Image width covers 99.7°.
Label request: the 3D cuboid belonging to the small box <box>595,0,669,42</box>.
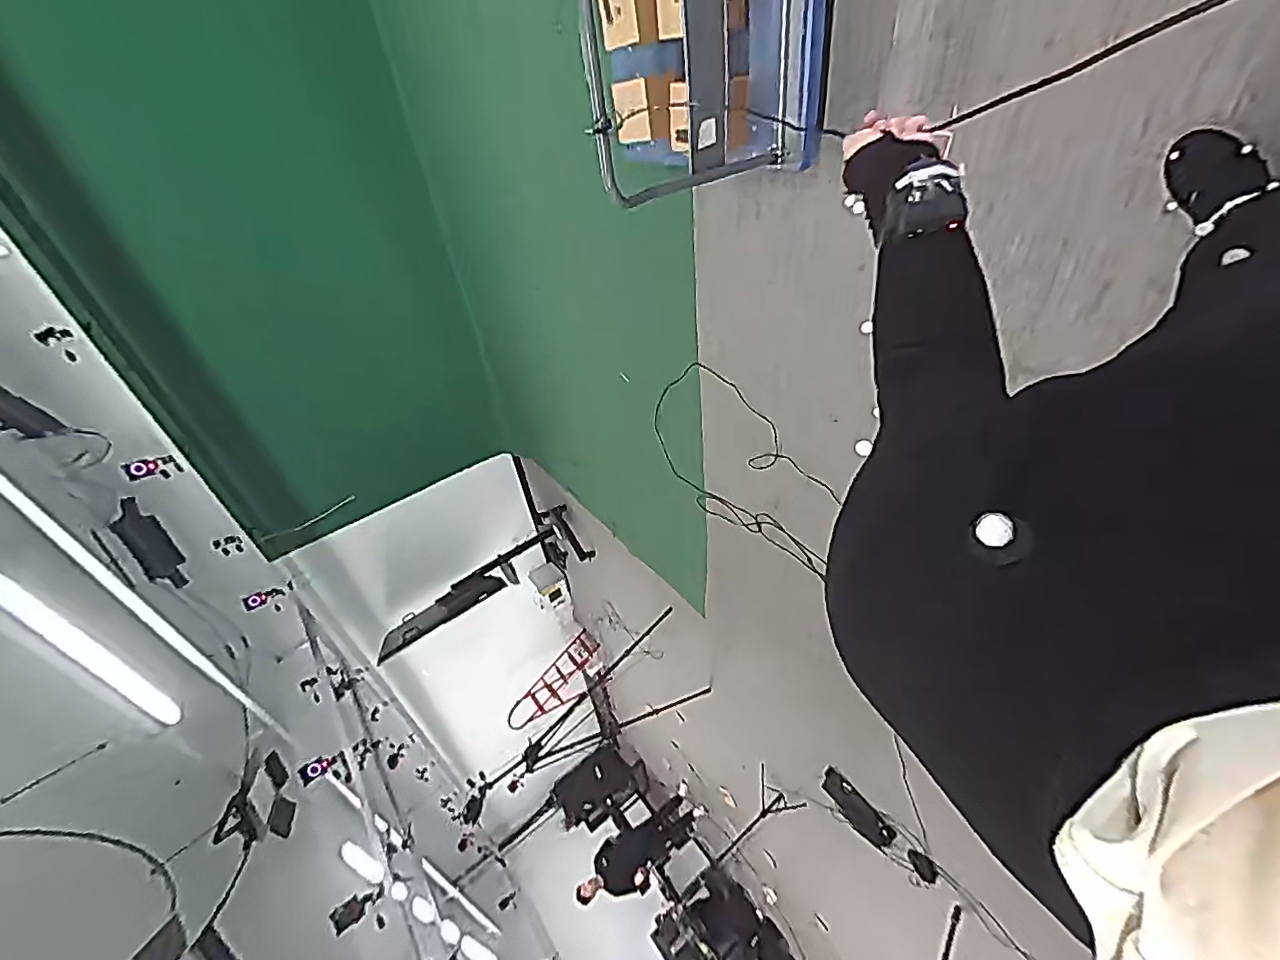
[{"bbox_3d":[-0.017,-1.445,1.630,0.179,0.176,0.168,31,143,43],"label":"small box"}]

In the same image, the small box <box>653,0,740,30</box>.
[{"bbox_3d":[0.151,-1.327,1.455,0.179,0.176,0.168,35,145,39],"label":"small box"}]

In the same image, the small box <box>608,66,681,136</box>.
[{"bbox_3d":[0.022,-1.243,1.775,0.179,0.176,0.168,32,143,44],"label":"small box"}]
